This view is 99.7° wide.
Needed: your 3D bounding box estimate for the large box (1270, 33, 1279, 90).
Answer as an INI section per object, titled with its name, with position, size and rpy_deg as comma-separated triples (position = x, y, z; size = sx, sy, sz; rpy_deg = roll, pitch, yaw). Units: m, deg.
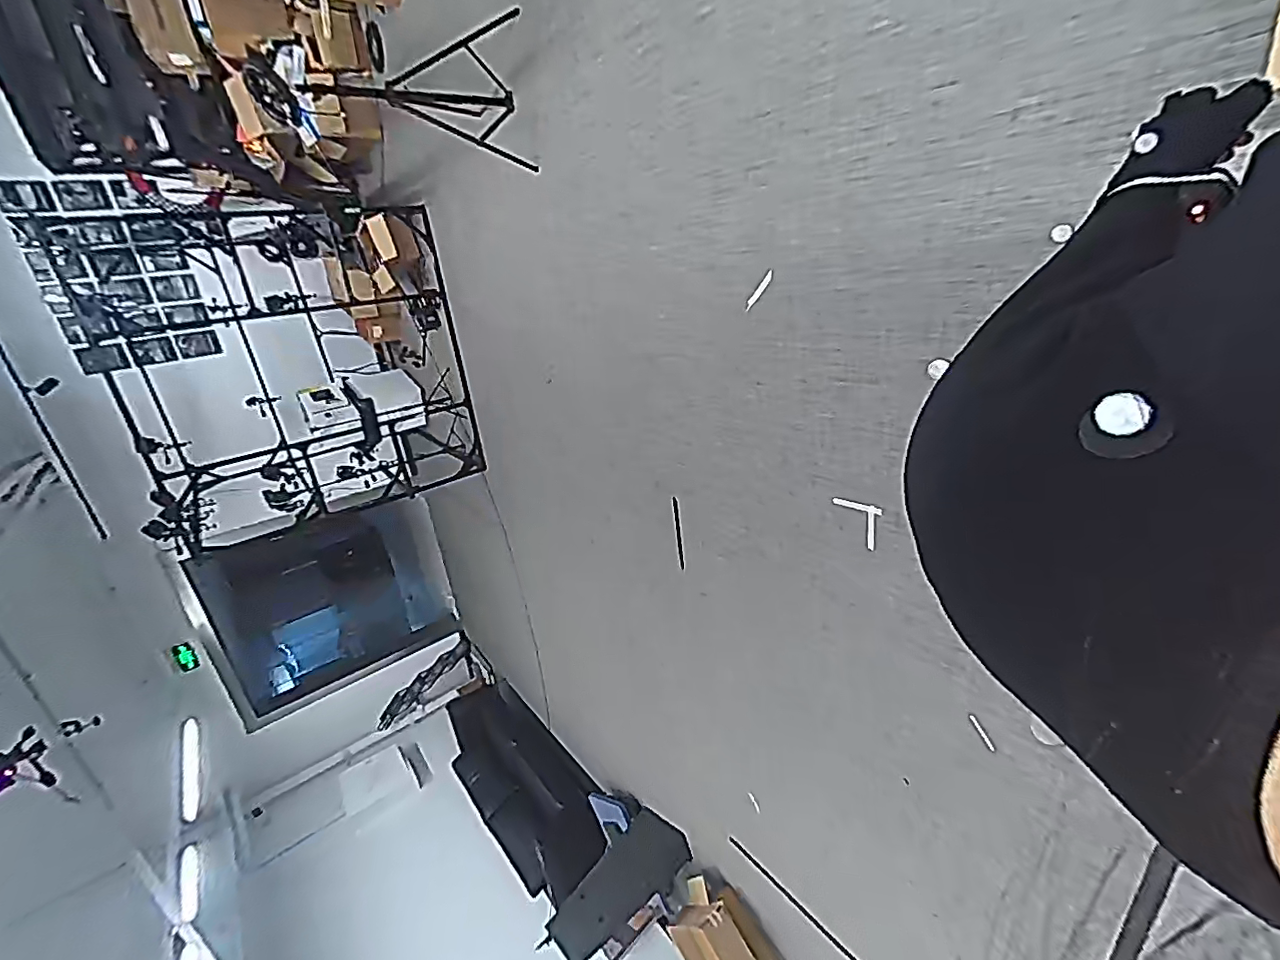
[large box]
position = 1.053, -0.675, 0.602
size = 0.408, 0.320, 0.320
rpy_deg = 18, 123, 49
